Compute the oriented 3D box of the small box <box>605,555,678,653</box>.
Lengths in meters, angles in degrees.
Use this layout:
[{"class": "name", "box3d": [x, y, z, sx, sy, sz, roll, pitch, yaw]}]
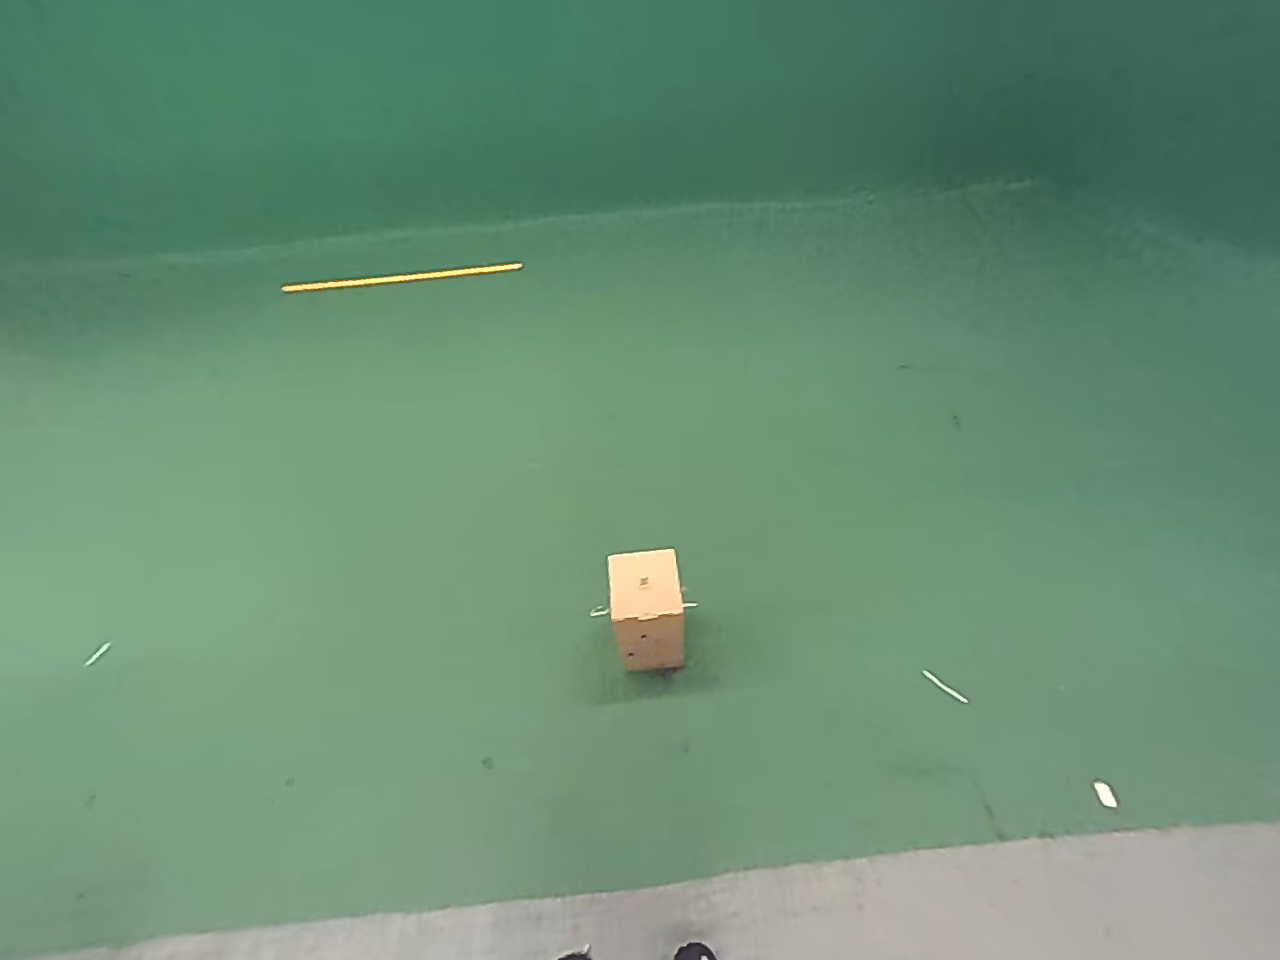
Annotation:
[{"class": "small box", "box3d": [-0.001, 0.307, 1.337, 0.168, 0.176, 0.179, -4, 50, -2]}]
